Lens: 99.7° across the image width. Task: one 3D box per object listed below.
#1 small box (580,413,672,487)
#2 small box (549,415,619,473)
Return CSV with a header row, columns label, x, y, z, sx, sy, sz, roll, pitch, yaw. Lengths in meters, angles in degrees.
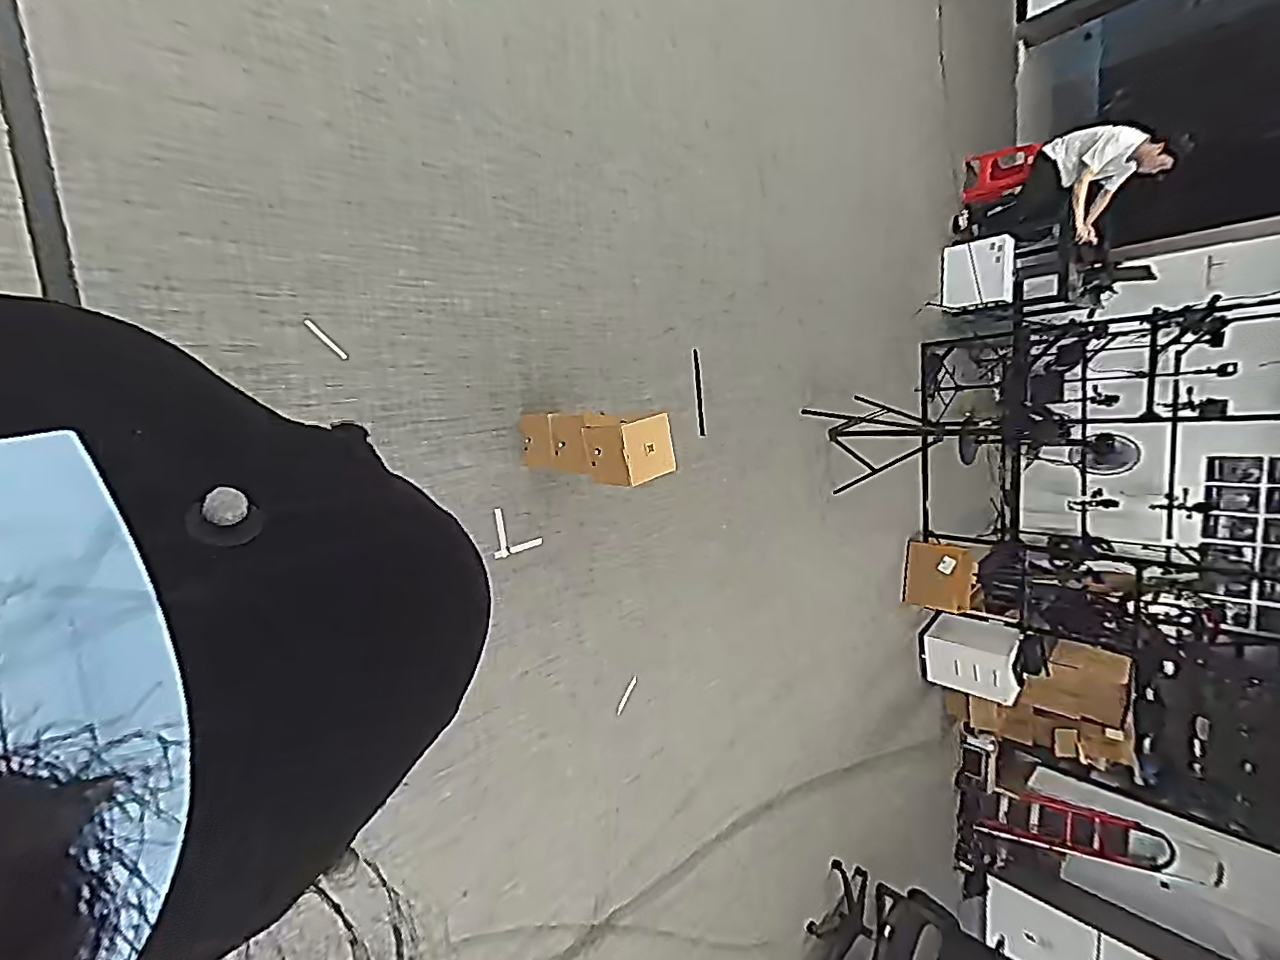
label,x,y,z,sx,sy,sz,roll,pitch,yaw
small box,-0.039,-0.088,1.496,0.179,0.176,0.168,-22,108,-40
small box,-0.152,-0.110,1.612,0.179,0.176,0.168,-7,97,-42
